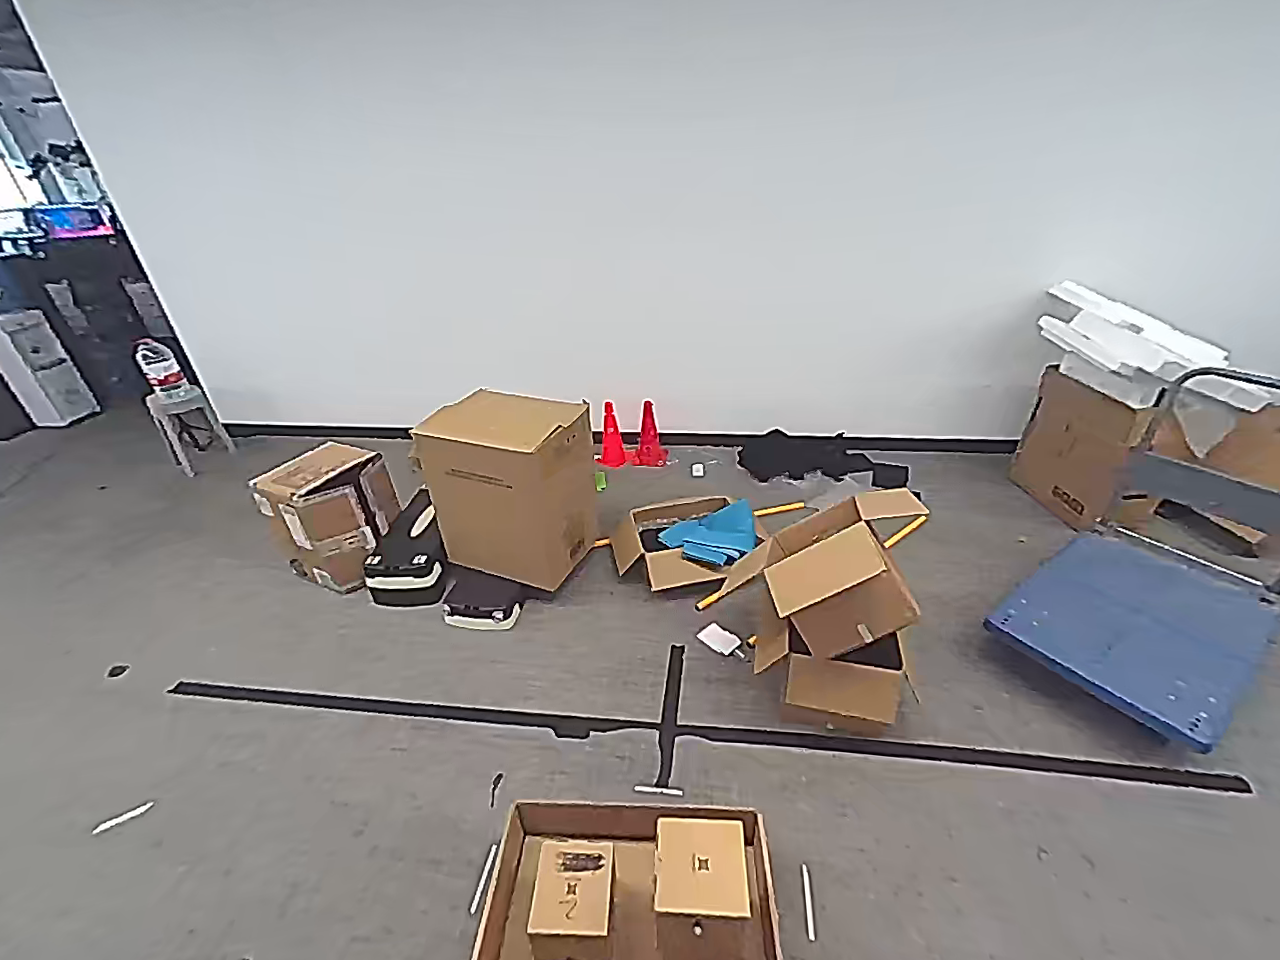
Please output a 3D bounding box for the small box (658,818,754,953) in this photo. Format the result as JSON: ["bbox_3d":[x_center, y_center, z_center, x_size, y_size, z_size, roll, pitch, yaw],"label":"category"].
[{"bbox_3d":[0.128,0.809,1.079,0.179,0.176,0.168,-1,31,5],"label":"small box"}]

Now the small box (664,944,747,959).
[{"bbox_3d":[0.140,0.947,1.165,0.168,0.176,0.179,0,30,5],"label":"small box"}]
